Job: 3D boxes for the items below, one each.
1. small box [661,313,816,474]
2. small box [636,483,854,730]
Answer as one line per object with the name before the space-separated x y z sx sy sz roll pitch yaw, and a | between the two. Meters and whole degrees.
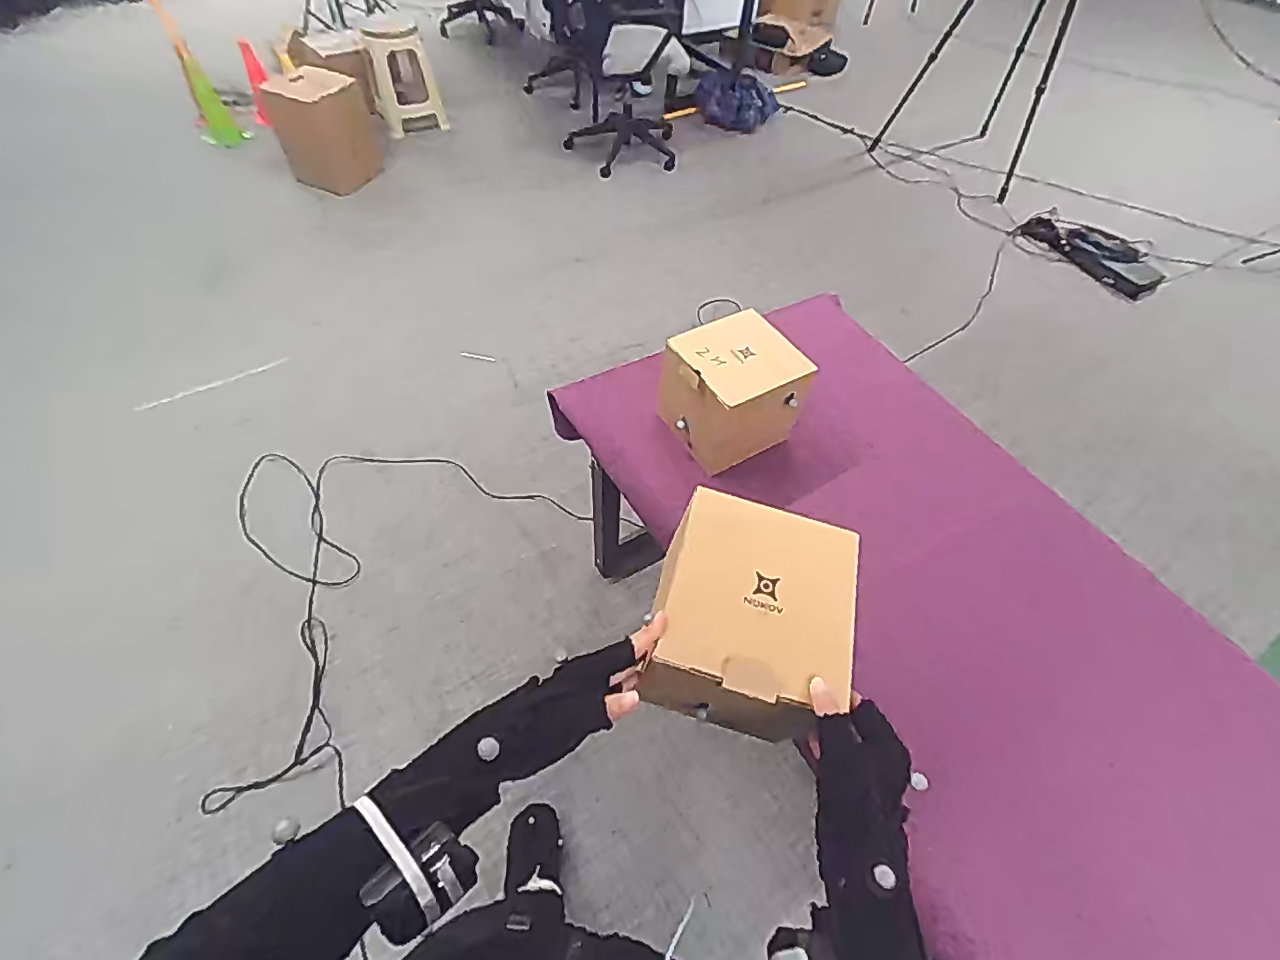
small box | 0.151 -0.141 0.898 0.179 0.176 0.168 -25 60 -20
small box | 0.100 0.136 0.556 0.168 0.176 0.179 17 58 2
